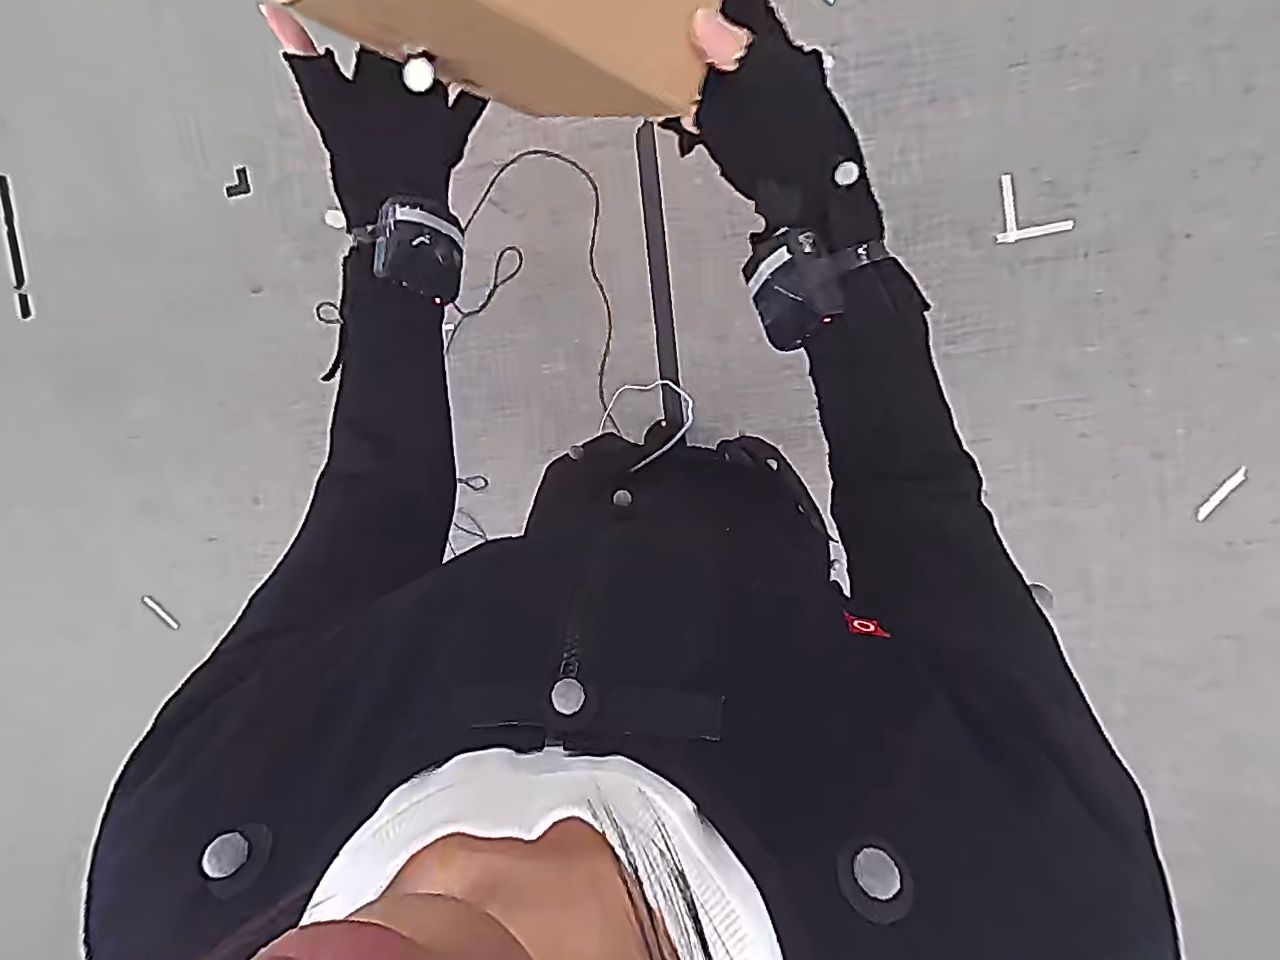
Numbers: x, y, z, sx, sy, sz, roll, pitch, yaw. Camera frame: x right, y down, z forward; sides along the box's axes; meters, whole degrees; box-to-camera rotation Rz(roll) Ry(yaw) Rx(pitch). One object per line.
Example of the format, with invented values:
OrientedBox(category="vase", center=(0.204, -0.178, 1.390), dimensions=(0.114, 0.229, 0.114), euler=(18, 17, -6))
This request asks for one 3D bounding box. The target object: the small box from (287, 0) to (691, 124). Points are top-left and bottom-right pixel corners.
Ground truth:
OrientedBox(category="small box", center=(-0.078, -0.313, 0.282), dimensions=(0.176, 0.168, 0.179), euler=(34, 119, 40))
